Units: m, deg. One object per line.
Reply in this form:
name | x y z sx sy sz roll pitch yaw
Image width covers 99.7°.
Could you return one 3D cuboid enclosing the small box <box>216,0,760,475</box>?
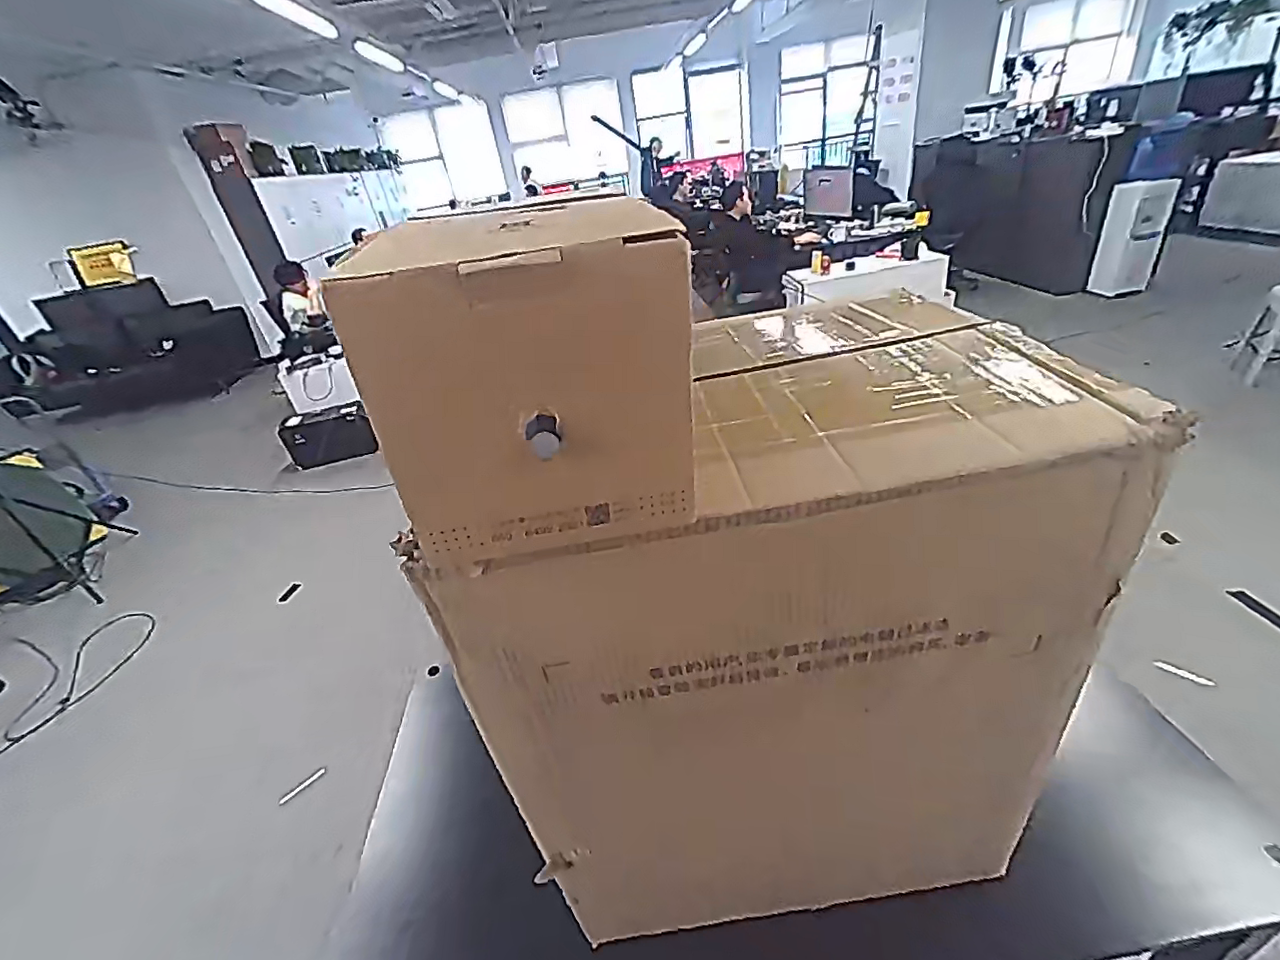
small box | -0.048 -0.115 0.271 0.168 0.176 0.179 -10 35 -6
